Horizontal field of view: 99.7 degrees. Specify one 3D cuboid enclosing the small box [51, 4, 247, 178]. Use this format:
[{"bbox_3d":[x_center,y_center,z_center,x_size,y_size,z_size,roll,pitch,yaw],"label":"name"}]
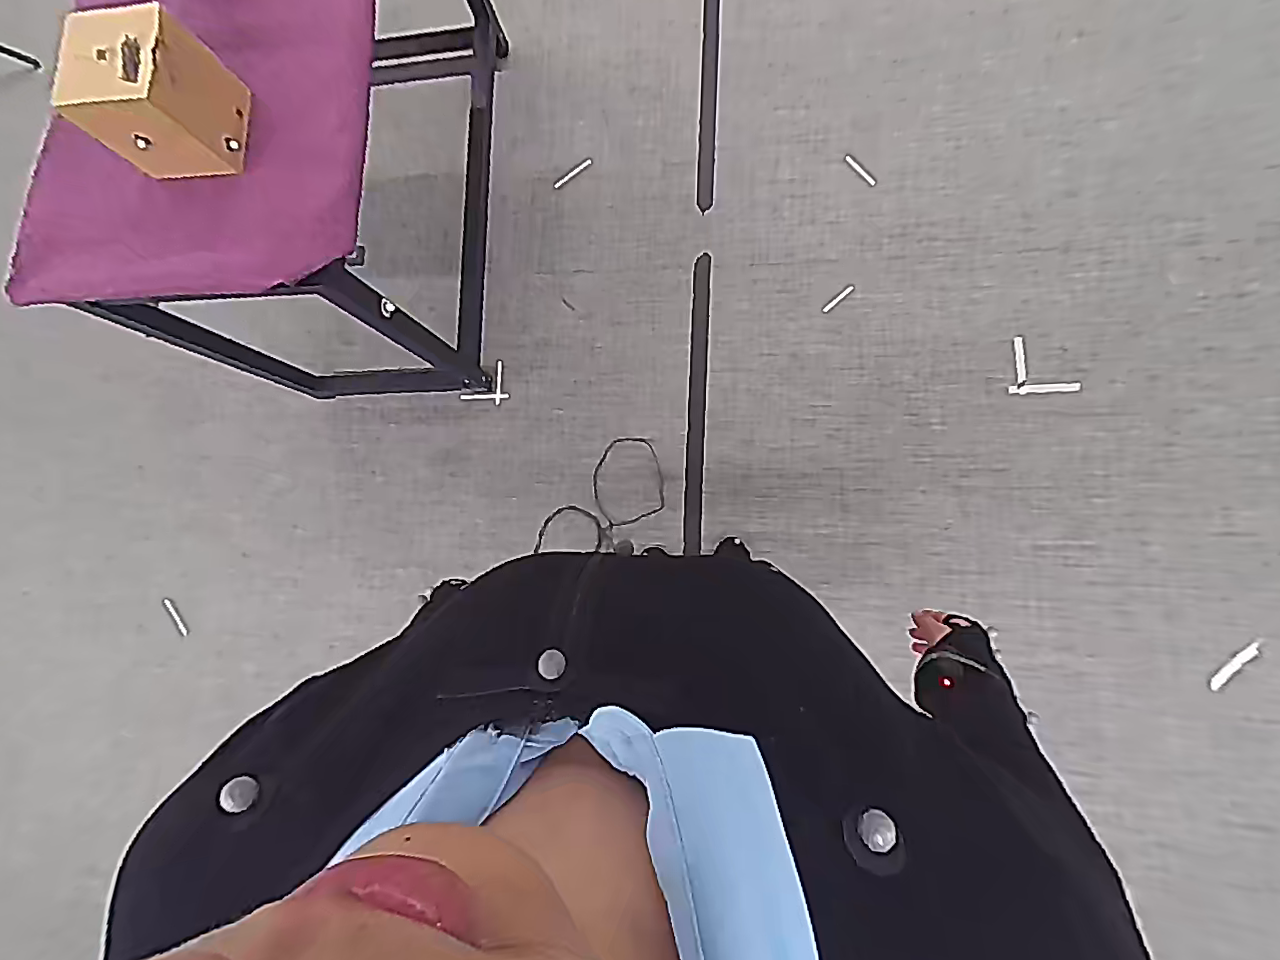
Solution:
[{"bbox_3d":[-0.806,-0.638,0.907,0.179,0.176,0.168,1,83,8],"label":"small box"}]
